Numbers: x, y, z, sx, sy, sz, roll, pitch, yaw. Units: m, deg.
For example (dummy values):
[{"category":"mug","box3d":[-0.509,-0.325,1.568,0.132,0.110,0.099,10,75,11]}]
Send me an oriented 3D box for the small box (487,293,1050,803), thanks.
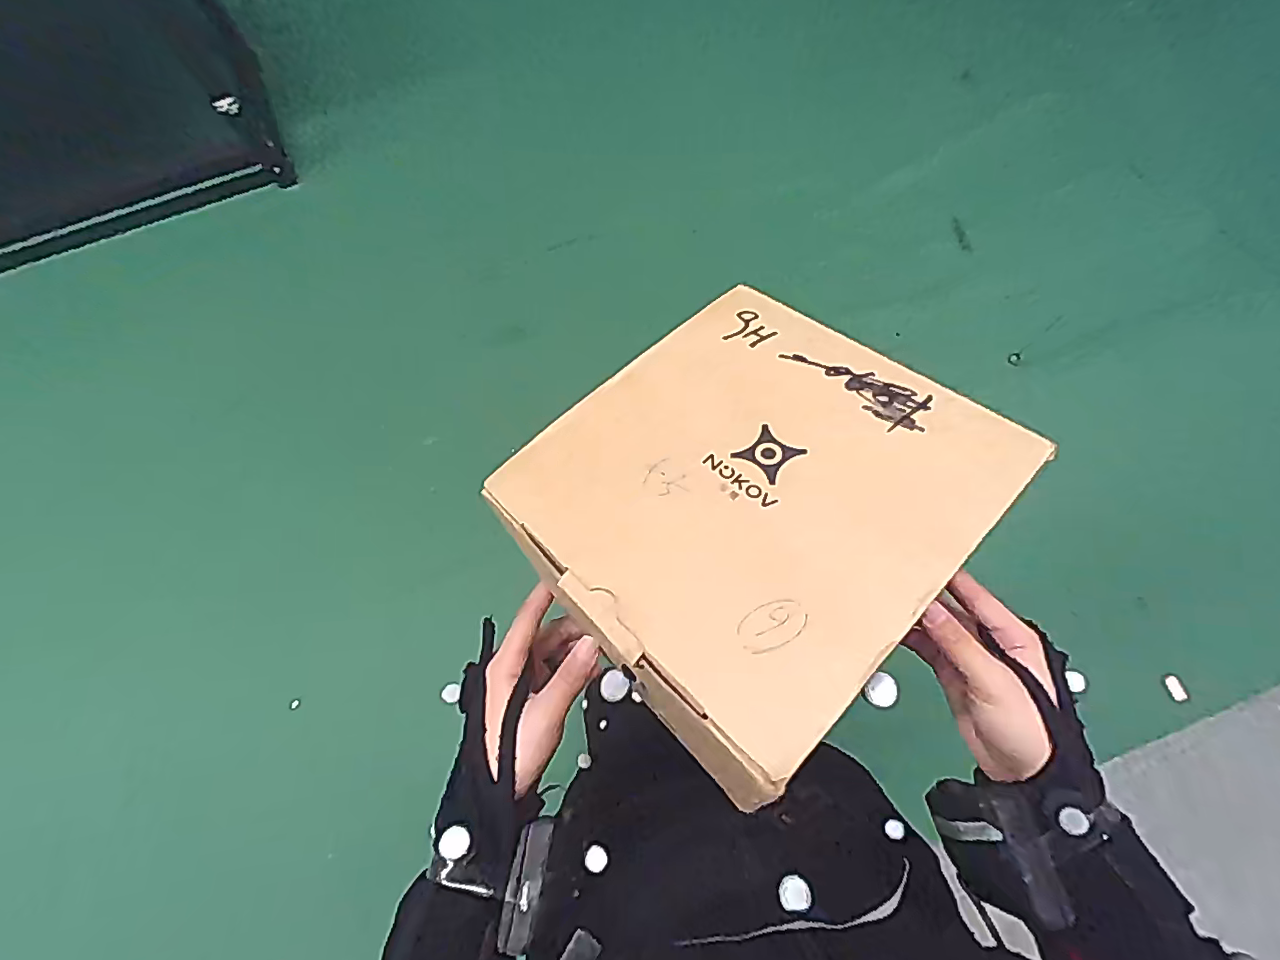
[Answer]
[{"category":"small box","box3d":[0.057,0.042,0.291,0.179,0.176,0.168,-40,59,-17]}]
